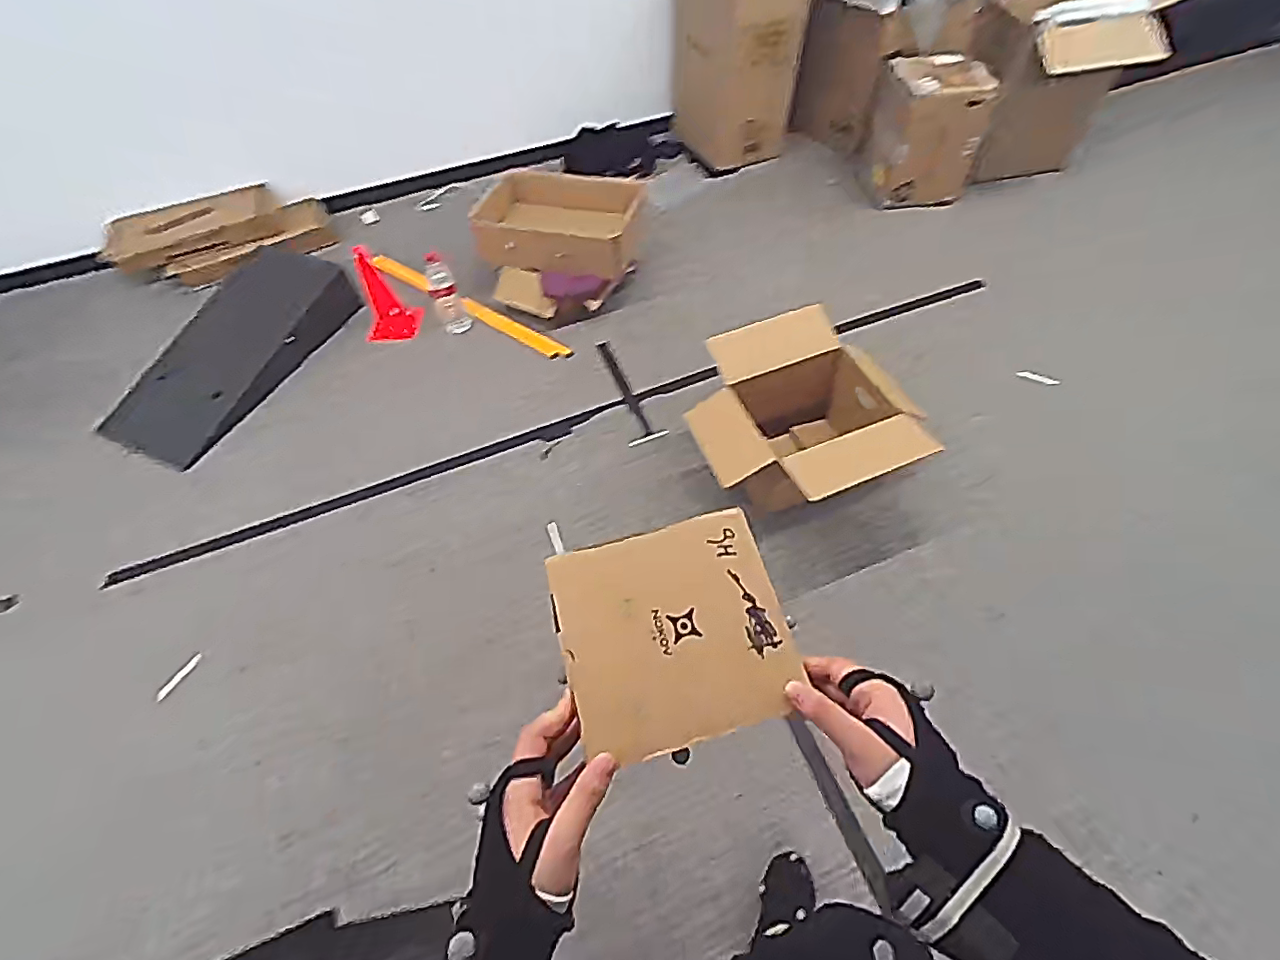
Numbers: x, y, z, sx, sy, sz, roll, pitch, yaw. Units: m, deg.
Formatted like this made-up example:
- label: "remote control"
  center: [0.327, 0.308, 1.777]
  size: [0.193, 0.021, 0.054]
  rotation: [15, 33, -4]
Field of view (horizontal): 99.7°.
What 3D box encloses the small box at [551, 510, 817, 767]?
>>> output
- label: "small box"
  center: [0.031, 0.150, 0.495]
  size: [0.179, 0.176, 0.168]
  rotation: [-14, 65, -6]
